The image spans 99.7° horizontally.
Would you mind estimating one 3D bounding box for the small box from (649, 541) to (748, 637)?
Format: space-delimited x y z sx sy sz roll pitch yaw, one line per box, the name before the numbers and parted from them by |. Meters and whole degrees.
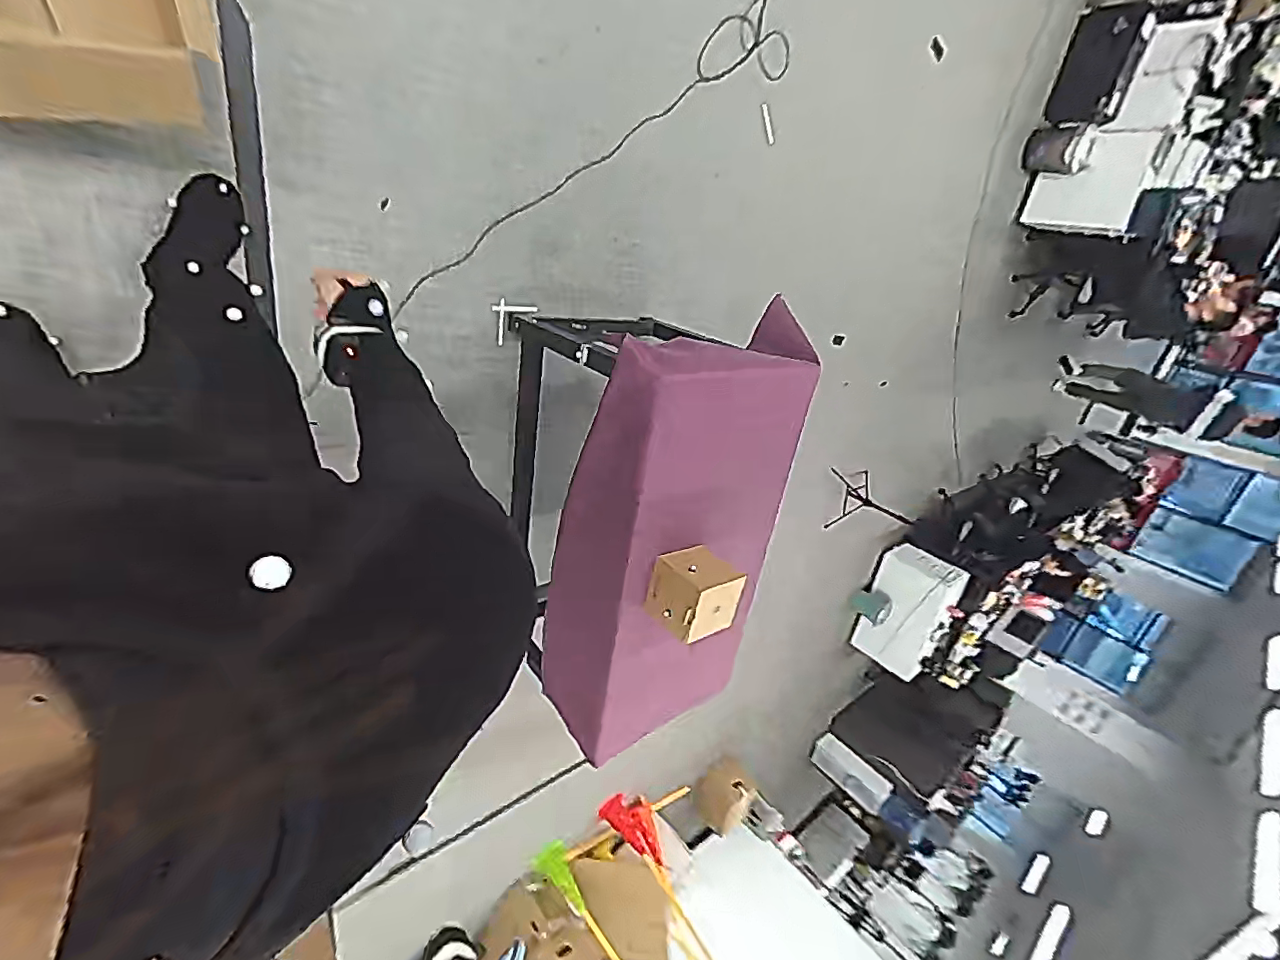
small box | 0.147 0.279 1.425 0.179 0.176 0.168 -8 120 -41
